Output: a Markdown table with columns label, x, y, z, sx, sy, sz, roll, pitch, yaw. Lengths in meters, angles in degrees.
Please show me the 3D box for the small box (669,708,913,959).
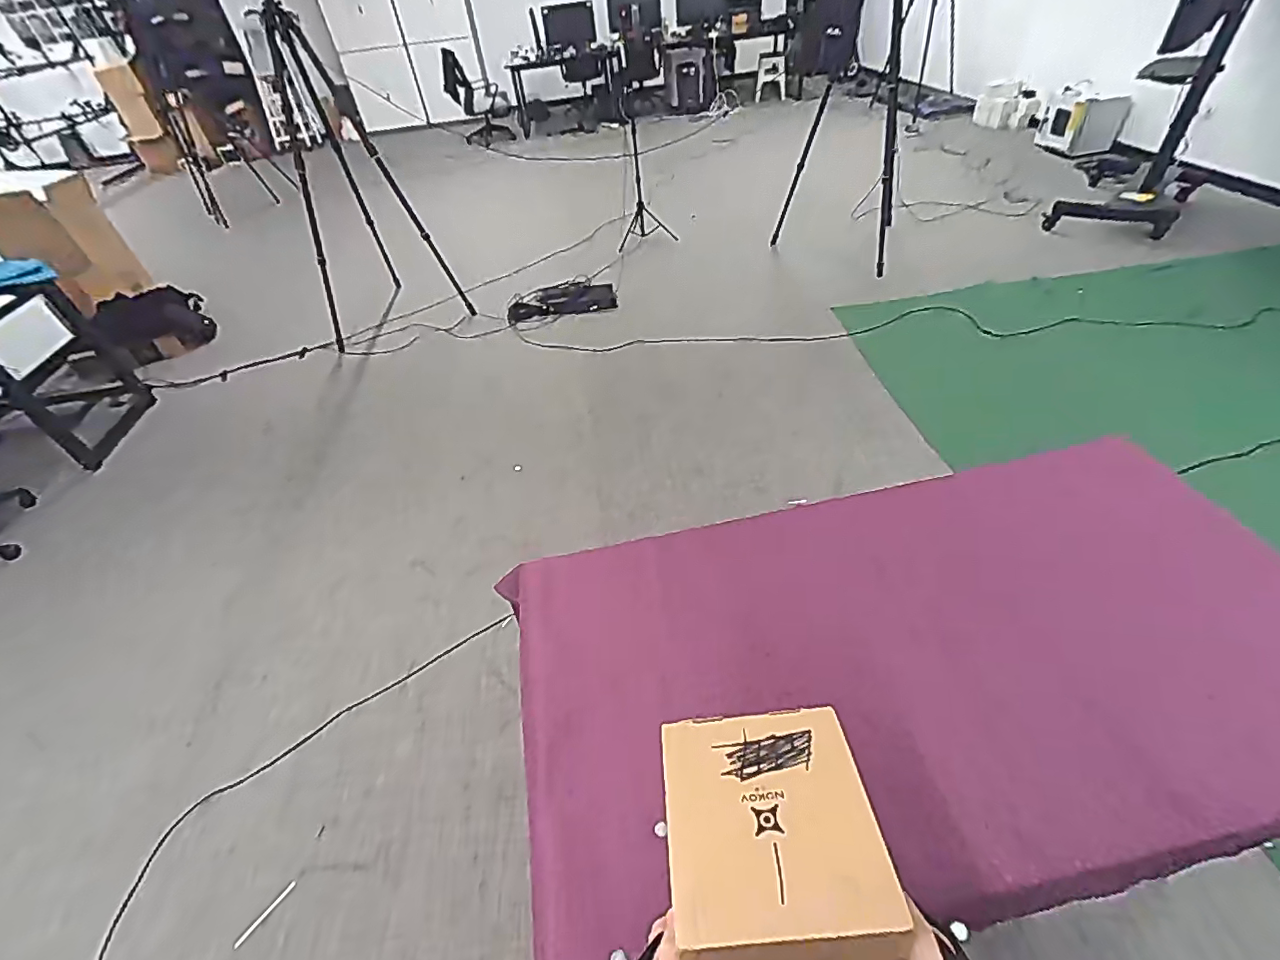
| label | x | y | z | sx | sy | sz | roll | pitch | yaw |
| --- | --- | --- | --- | --- | --- | --- | --- | --- | --- |
| small box | 0.116 | 0.336 | 0.486 | 0.168 | 0.176 | 0.179 | -7 | 33 | 4 |
